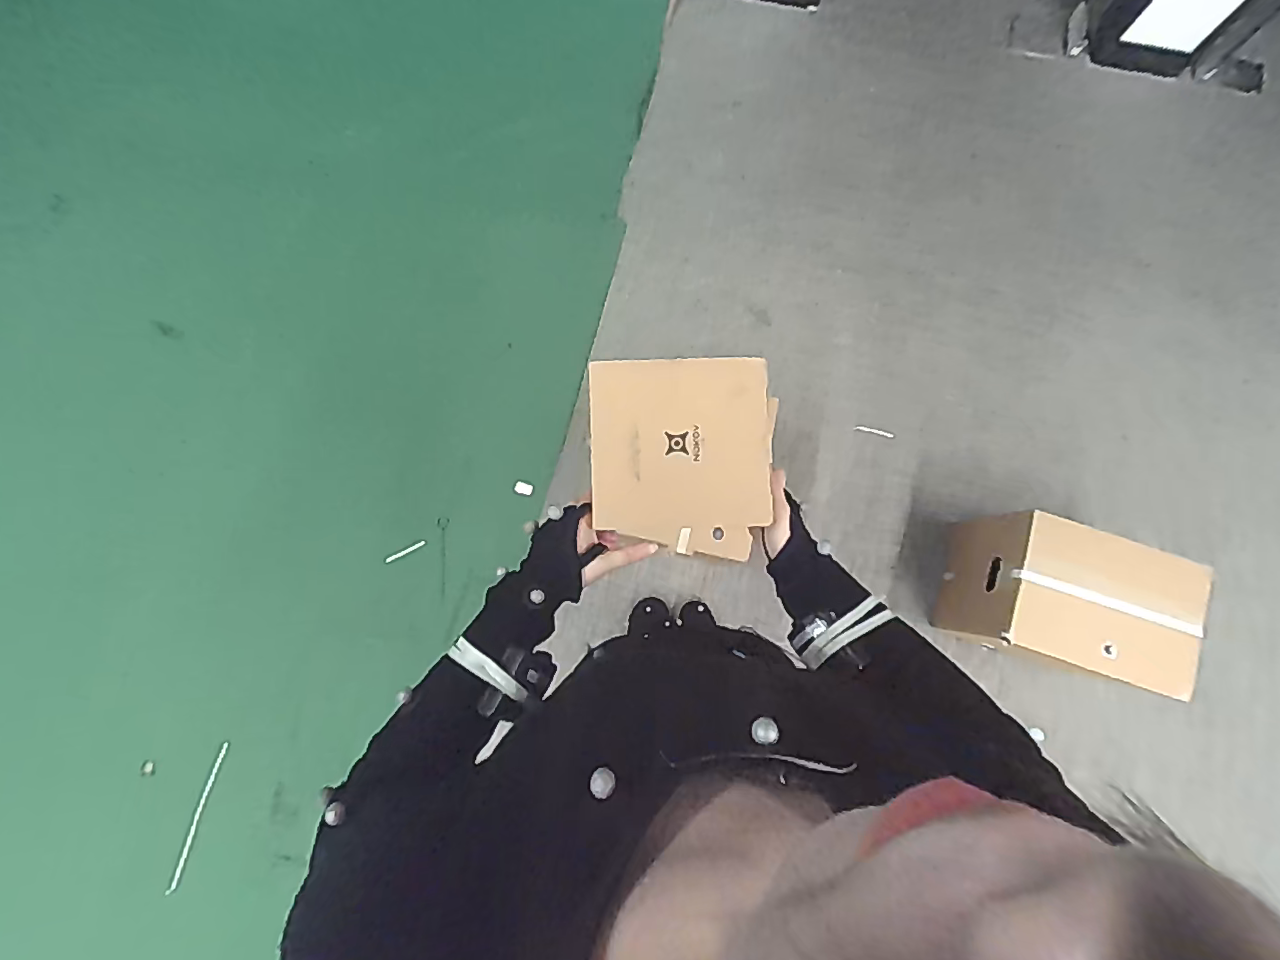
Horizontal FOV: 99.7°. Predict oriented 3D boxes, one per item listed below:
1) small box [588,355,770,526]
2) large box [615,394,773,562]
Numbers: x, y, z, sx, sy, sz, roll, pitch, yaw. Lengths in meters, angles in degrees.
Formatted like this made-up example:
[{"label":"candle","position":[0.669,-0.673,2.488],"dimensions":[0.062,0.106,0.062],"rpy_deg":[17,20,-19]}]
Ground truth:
[{"label":"small box","position":[0.037,-0.036,0.598],"dimensions":[0.179,0.176,0.168],"rpy_deg":[0,87,0]},{"label":"large box","position":[0.133,-0.017,1.413],"dimensions":[0.320,0.320,0.408],"rpy_deg":[13,79,3]}]
